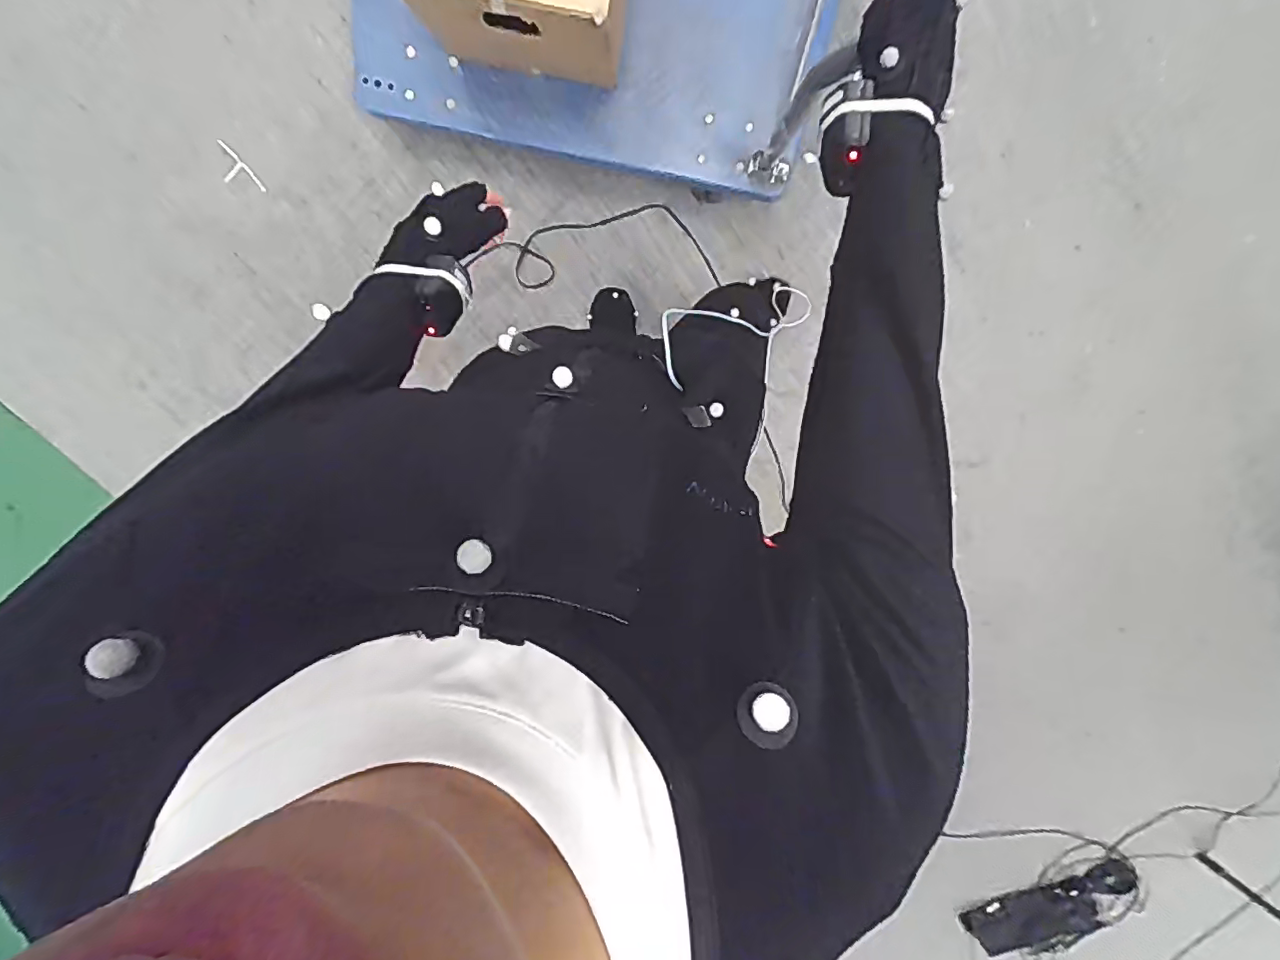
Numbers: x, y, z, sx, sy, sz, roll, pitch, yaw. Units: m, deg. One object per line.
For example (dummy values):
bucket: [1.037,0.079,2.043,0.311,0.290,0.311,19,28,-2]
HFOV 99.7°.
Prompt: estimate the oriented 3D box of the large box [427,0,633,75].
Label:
large box: [-0.152,-0.915,0.813,0.320,0.320,0.408,8,113,-2]
